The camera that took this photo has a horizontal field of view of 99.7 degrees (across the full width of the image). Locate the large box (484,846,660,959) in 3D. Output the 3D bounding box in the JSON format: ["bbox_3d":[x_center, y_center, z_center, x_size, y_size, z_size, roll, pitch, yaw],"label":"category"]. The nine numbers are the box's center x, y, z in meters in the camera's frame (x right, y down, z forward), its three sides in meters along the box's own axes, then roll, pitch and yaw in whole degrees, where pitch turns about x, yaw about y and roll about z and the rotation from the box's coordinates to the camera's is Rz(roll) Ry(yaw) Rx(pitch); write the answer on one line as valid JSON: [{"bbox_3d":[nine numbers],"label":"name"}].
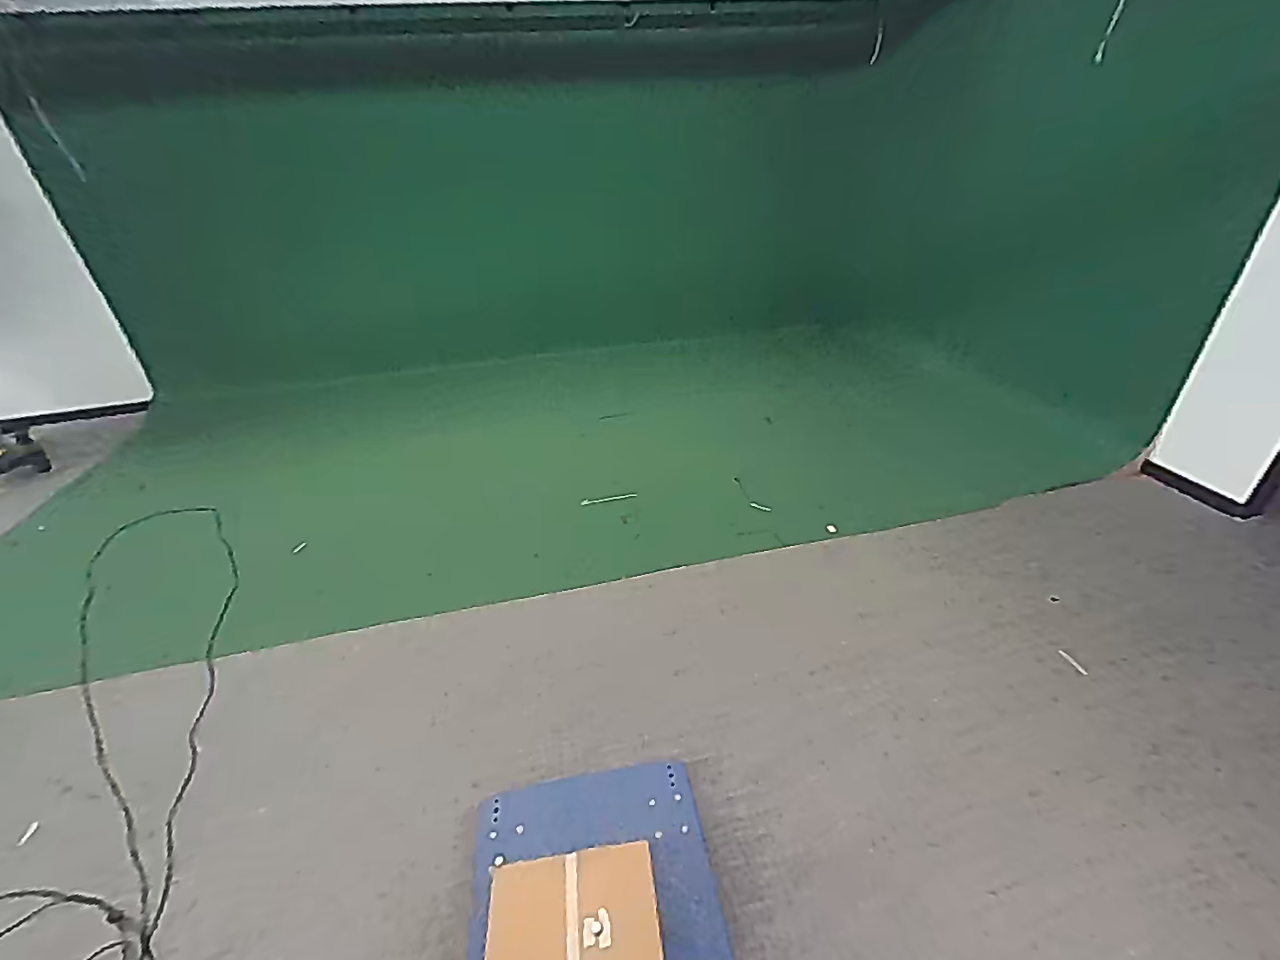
[{"bbox_3d":[-0.107,0.989,0.994,0.320,0.320,0.408,-6,31,-4],"label":"large box"}]
